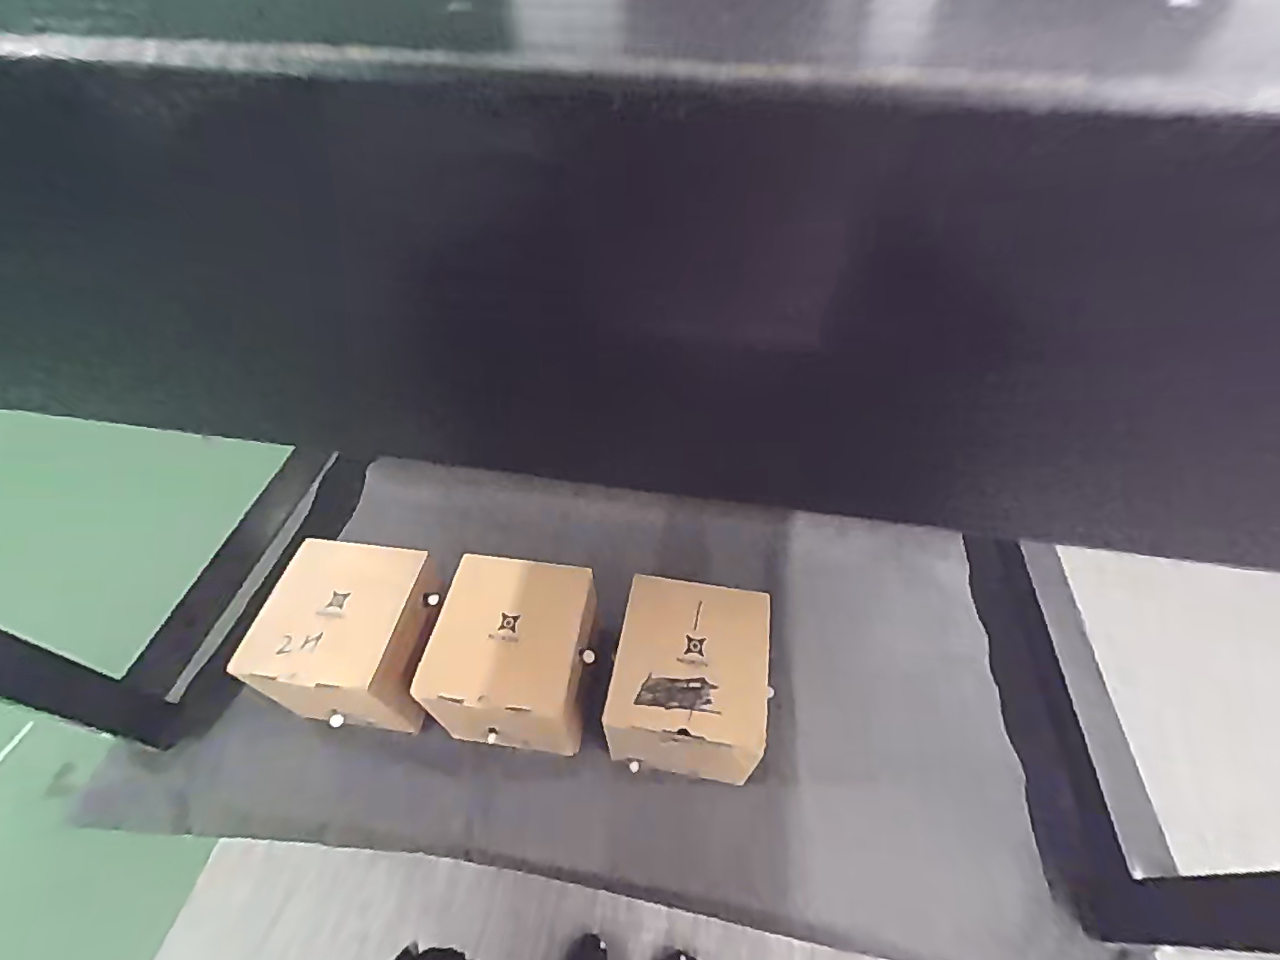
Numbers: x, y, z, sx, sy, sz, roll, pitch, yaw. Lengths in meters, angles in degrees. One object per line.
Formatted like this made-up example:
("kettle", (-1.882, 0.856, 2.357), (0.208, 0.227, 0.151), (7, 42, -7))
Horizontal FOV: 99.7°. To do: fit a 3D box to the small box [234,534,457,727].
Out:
("small box", (-0.352, 0.195, 0.695), (0.168, 0.176, 0.179), (5, 51, 5))
